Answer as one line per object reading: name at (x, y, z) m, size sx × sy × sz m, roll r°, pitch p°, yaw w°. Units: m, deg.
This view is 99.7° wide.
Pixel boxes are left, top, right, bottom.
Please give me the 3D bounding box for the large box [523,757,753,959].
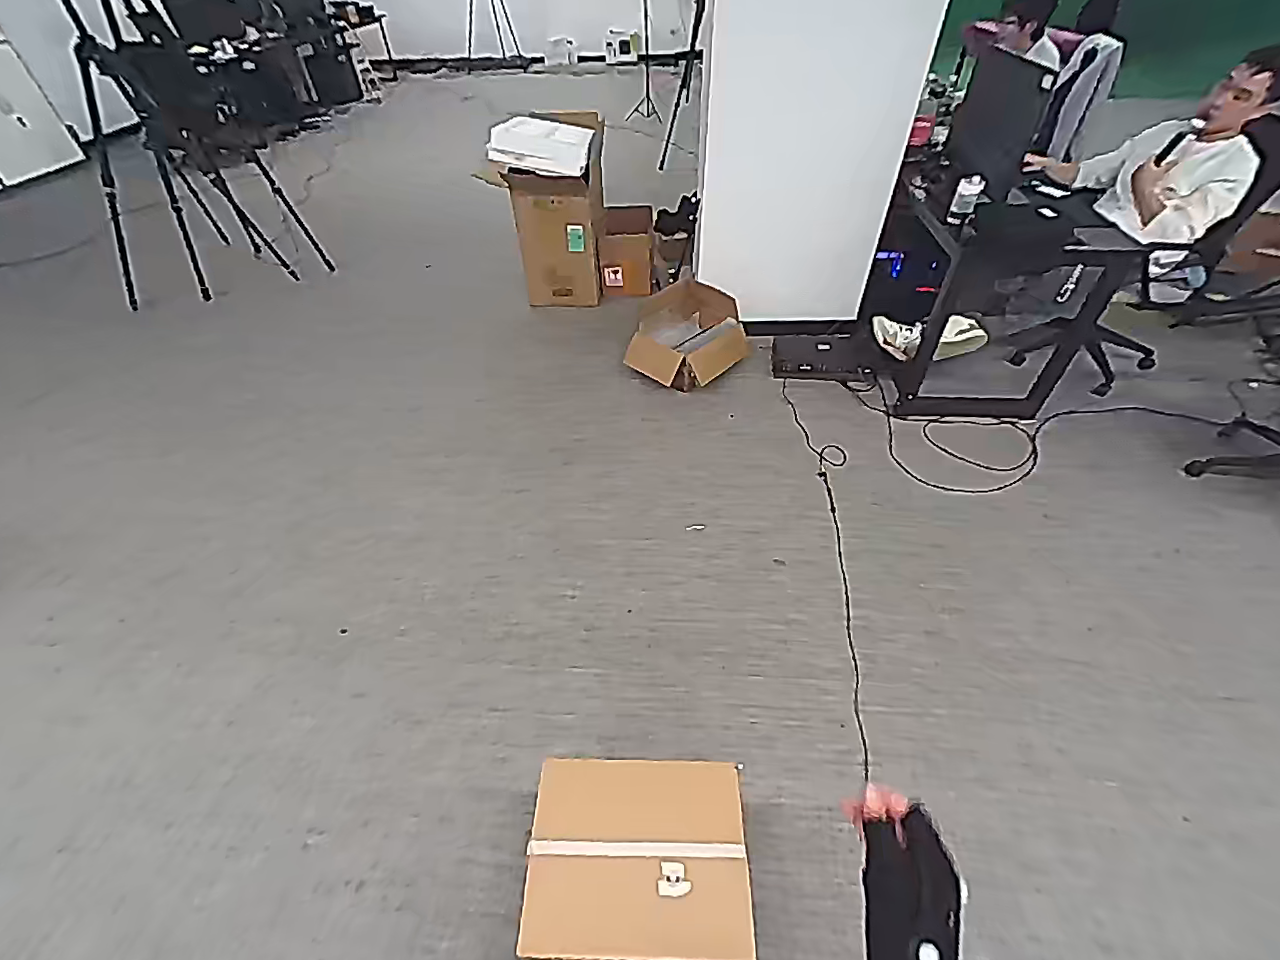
large box at (-0.003, 0.798, 1.130) m, size 0.408 × 0.320 × 0.320 m, roll 1°, pitch 46°, yaw 1°
